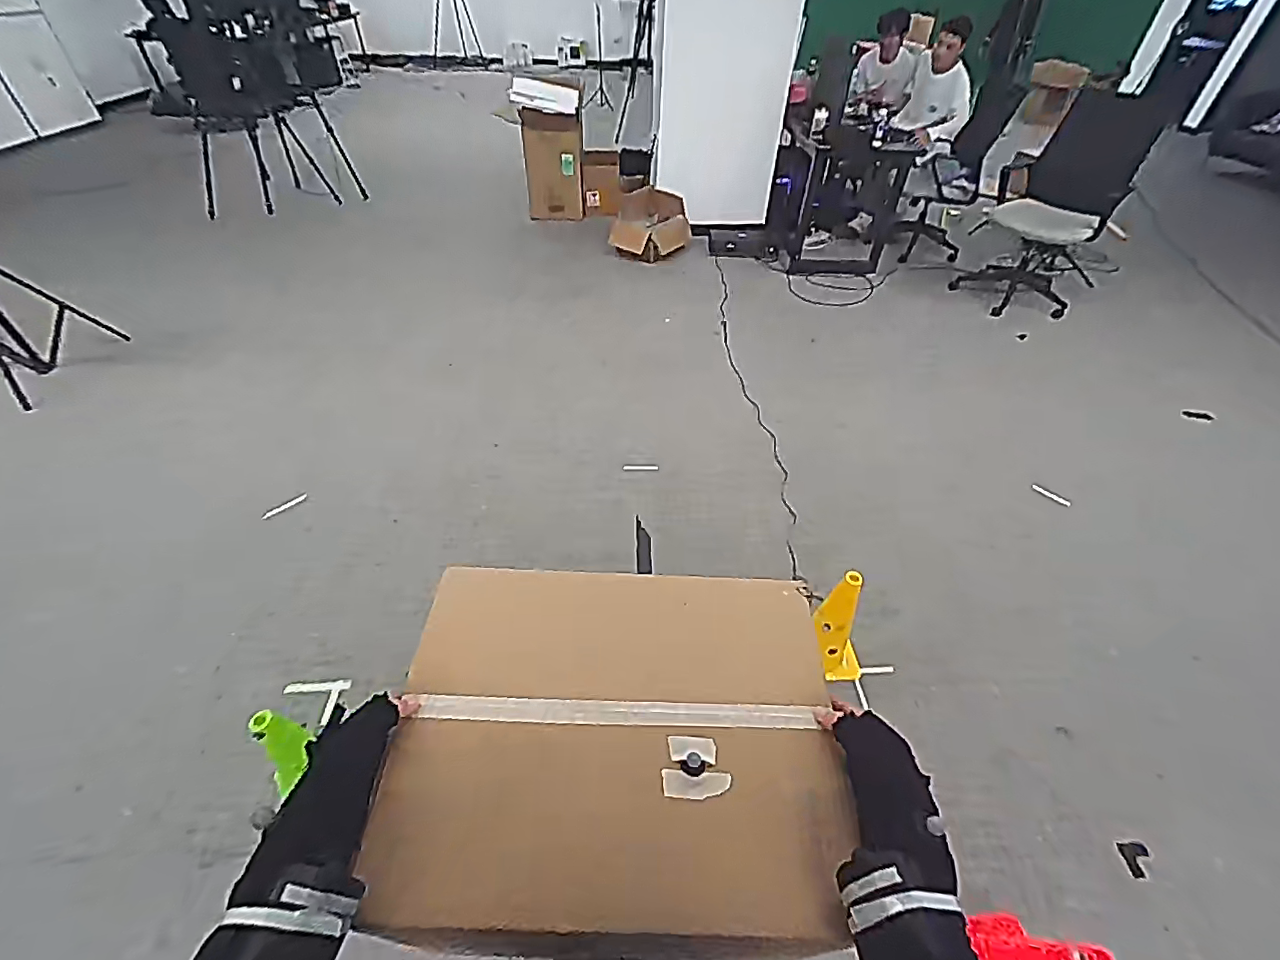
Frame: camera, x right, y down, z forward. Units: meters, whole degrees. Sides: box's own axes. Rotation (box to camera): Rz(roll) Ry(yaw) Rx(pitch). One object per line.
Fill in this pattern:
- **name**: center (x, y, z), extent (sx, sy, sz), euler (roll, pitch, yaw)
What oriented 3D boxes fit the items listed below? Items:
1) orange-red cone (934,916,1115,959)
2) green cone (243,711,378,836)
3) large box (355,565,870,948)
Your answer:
- **orange-red cone**: center (0.723, 0.882, 0.972), extent (0.198, 0.360, 0.199), euler (-1, 42, -4)
- **green cone**: center (-0.770, 0.603, 1.209), extent (0.202, 0.368, 0.200), euler (-30, 51, -27)
- **large box**: center (-0.025, 0.318, 0.618), extent (0.408, 0.320, 0.320), euler (3, 46, -1)
